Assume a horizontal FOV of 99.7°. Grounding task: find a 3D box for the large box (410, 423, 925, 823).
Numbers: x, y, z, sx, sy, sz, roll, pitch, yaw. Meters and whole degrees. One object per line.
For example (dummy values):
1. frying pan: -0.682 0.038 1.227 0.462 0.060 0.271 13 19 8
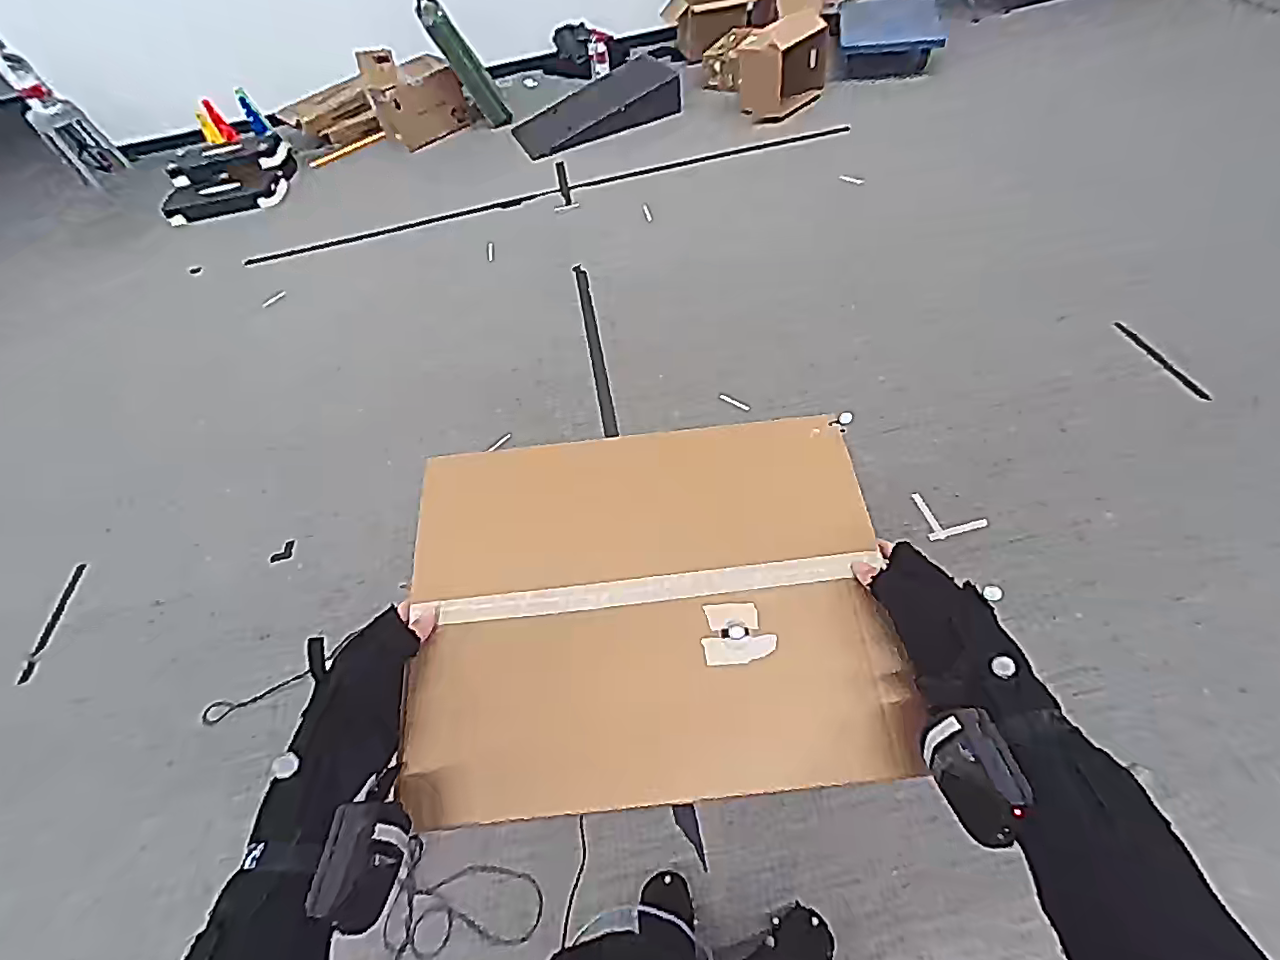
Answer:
1. large box: 0.010 0.168 0.607 0.408 0.320 0.320 -6 62 -1
